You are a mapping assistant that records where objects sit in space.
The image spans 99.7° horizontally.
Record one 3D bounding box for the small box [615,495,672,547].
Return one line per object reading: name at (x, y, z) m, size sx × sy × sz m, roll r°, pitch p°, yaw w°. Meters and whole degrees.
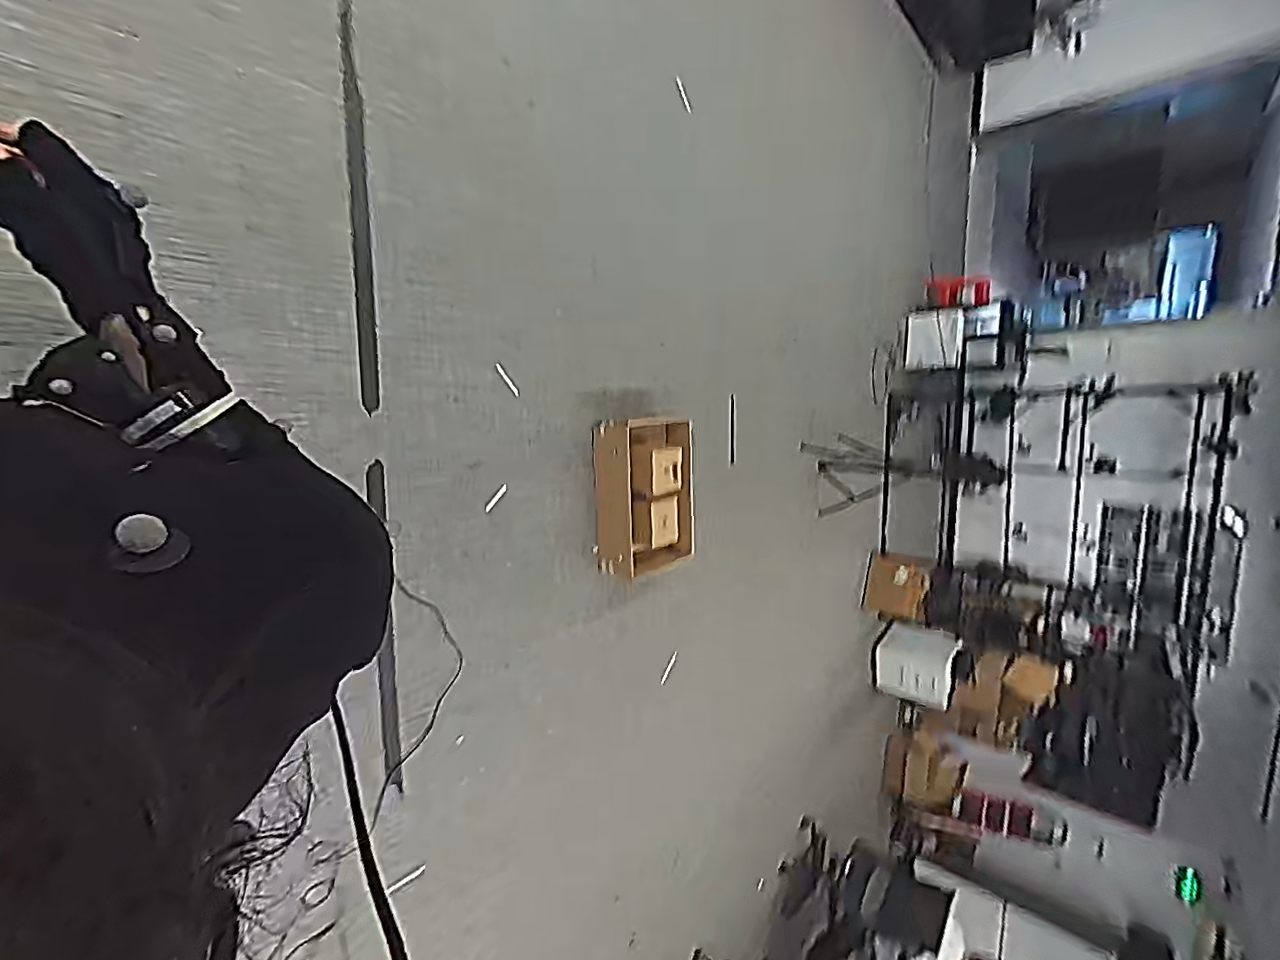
small box at (0.013, 0.163, 2.205) m, size 0.168 × 0.176 × 0.179 m, roll -12°, pitch 101°, yaw -48°
